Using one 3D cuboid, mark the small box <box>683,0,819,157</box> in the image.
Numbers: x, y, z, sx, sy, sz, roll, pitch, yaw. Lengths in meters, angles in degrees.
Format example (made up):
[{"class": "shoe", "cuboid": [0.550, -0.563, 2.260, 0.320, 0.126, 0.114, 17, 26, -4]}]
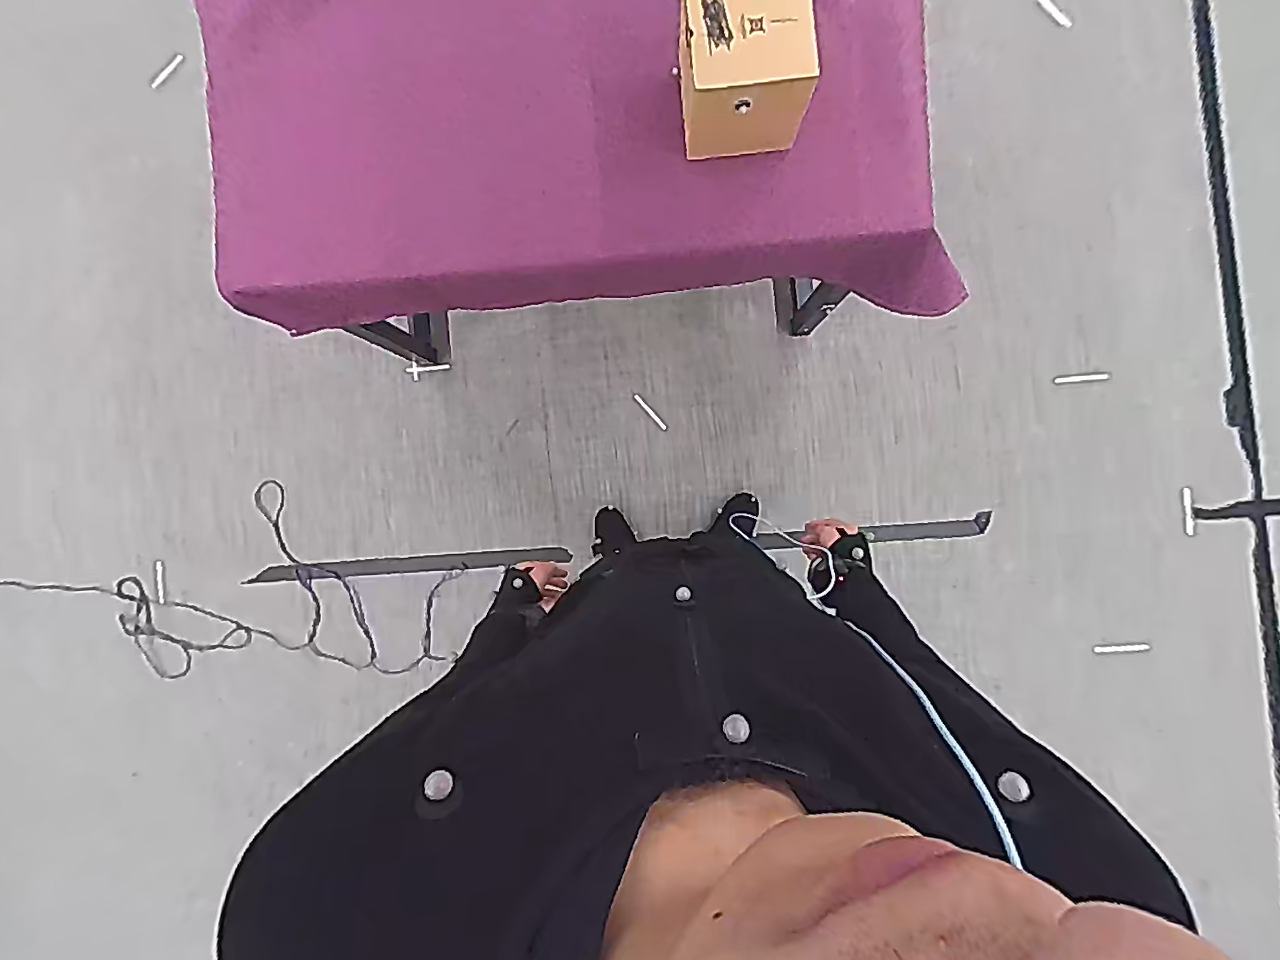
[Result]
[{"class": "small box", "cuboid": [0.157, -0.623, 0.823, 0.179, 0.176, 0.168, -5, 90, 2]}]
